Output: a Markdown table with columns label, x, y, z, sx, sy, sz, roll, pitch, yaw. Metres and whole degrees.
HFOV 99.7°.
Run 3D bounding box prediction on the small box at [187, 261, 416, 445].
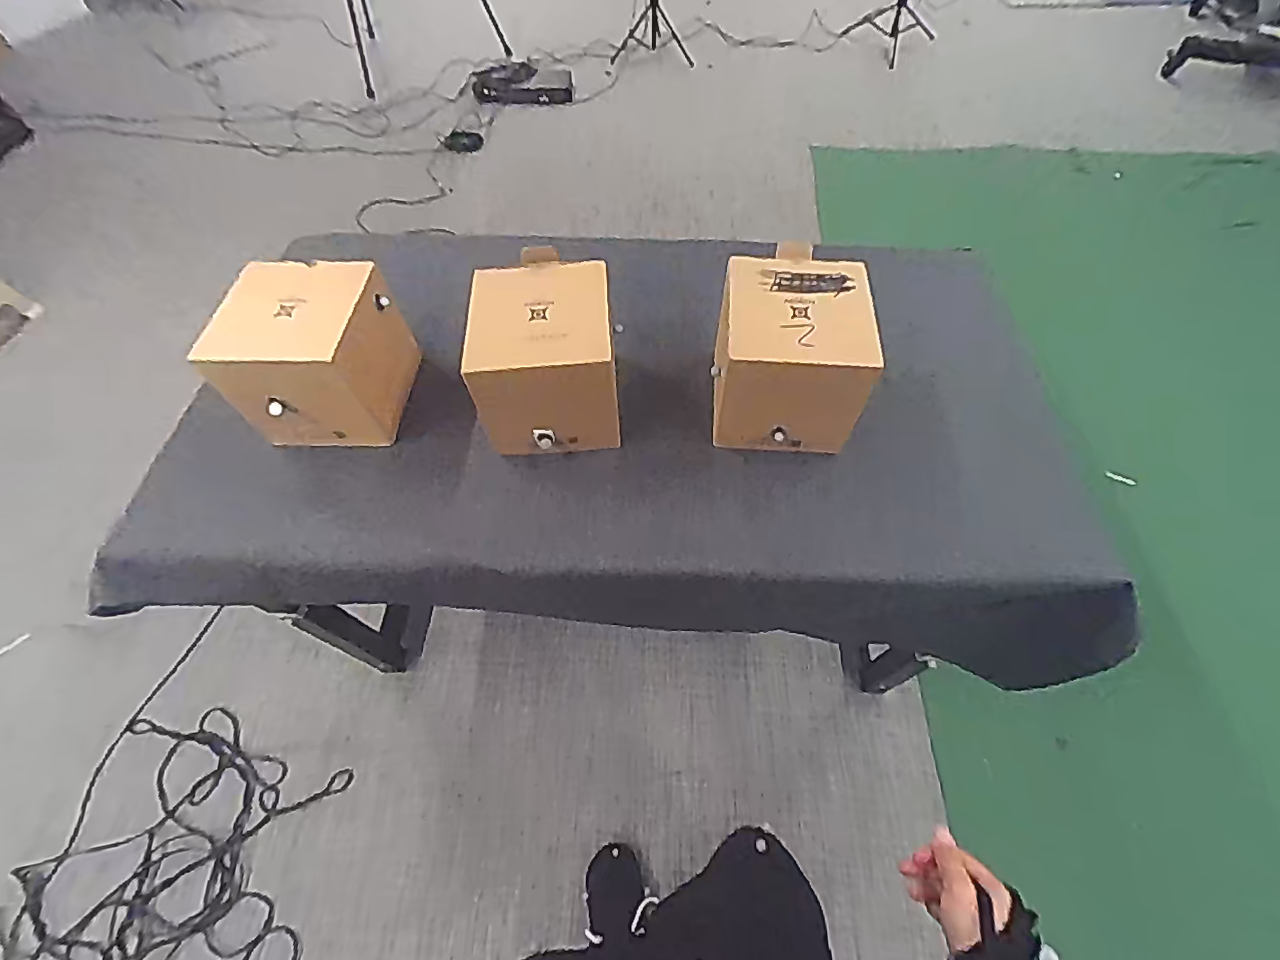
| label | x | y | z | sx | sy | sz | roll | pitch | yaw |
| --- | --- | --- | --- | --- | --- | --- | --- | --- | --- |
| small box | -0.414 | -0.158 | 0.703 | 0.168 | 0.176 | 0.179 | 0 | 57 | 1 |

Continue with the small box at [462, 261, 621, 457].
| label | x | y | z | sx | sy | sz | roll | pitch | yaw |
| --- | --- | --- | --- | --- | --- | --- | --- | --- | --- |
| small box | -0.115 | -0.151 | 0.693 | 0.168 | 0.176 | 0.179 | -6 | 58 | -1 |
